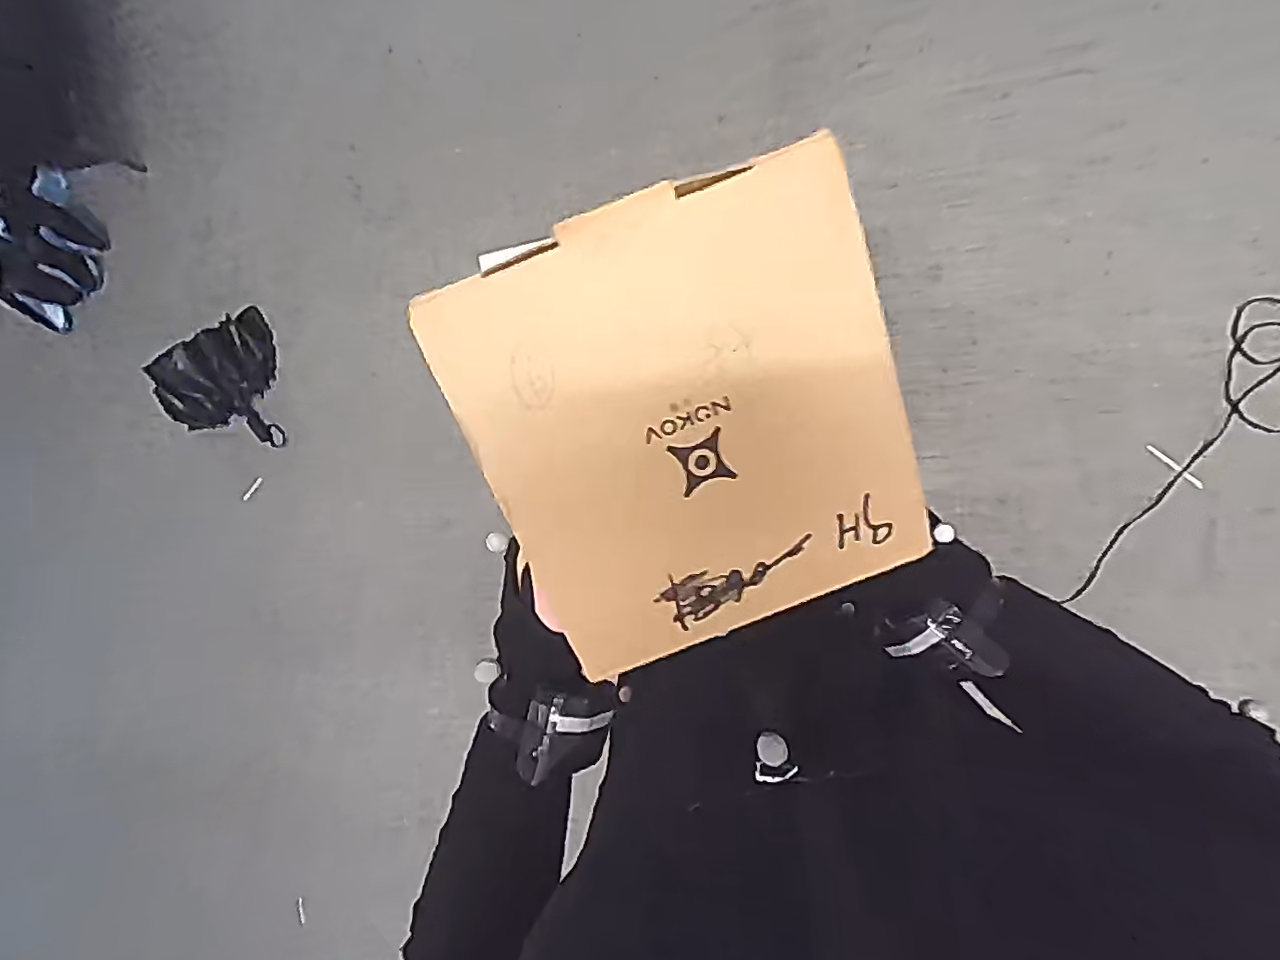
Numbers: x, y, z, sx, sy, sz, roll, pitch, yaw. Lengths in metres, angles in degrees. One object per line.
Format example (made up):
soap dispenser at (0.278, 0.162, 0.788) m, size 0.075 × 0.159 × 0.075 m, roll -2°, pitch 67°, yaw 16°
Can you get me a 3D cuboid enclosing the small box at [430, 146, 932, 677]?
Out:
small box at (0.018, -0.037, 0.296) m, size 0.168 × 0.176 × 0.179 m, roll -22°, pitch 106°, yaw 1°
